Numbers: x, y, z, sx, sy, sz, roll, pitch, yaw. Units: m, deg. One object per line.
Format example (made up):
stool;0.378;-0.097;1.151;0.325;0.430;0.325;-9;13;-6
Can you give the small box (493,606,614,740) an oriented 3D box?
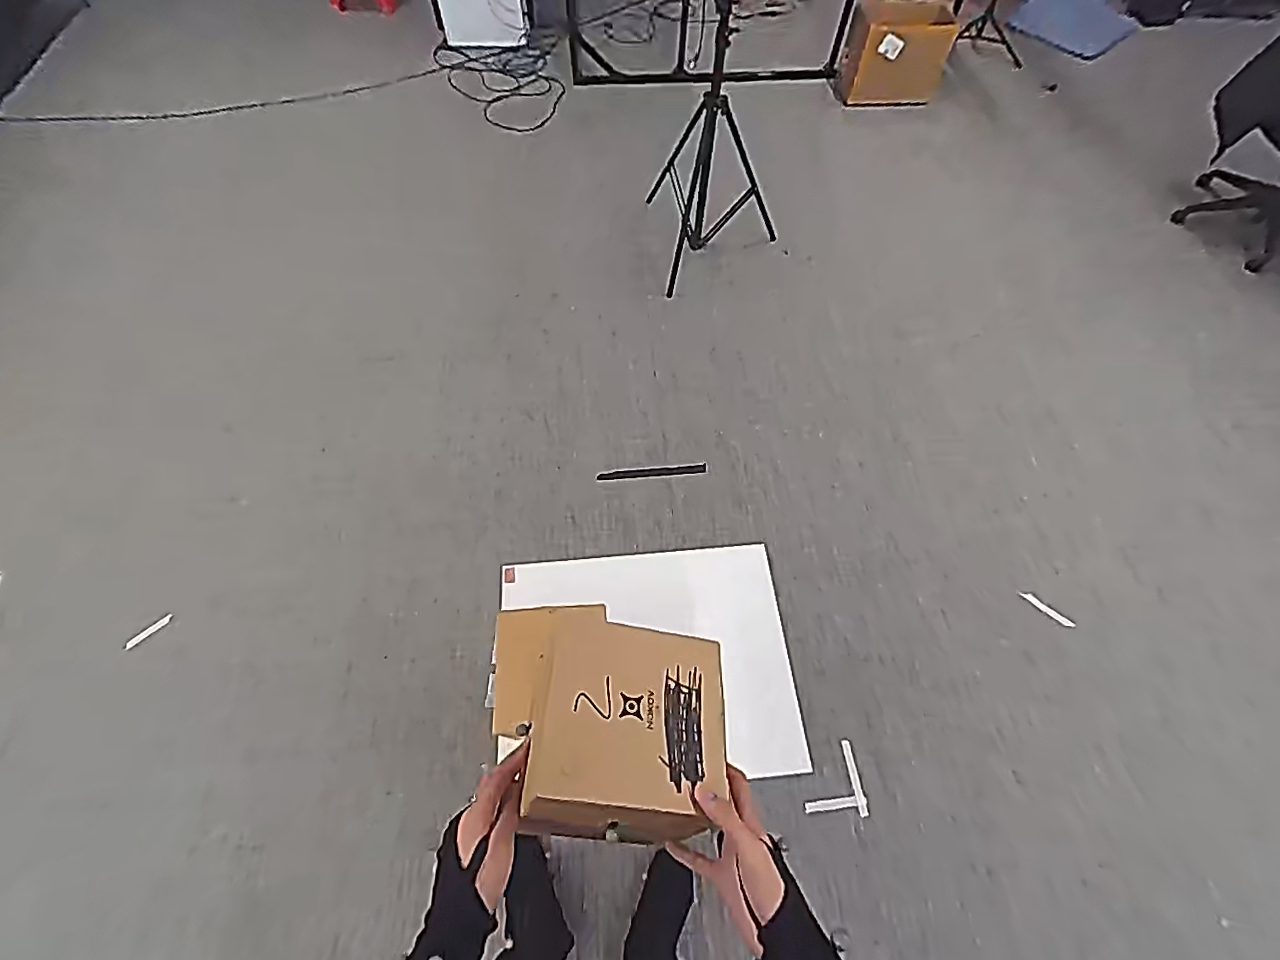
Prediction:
small box;-0.128;0.310;0.856;0.168;0.176;0.179;-3;61;-3
